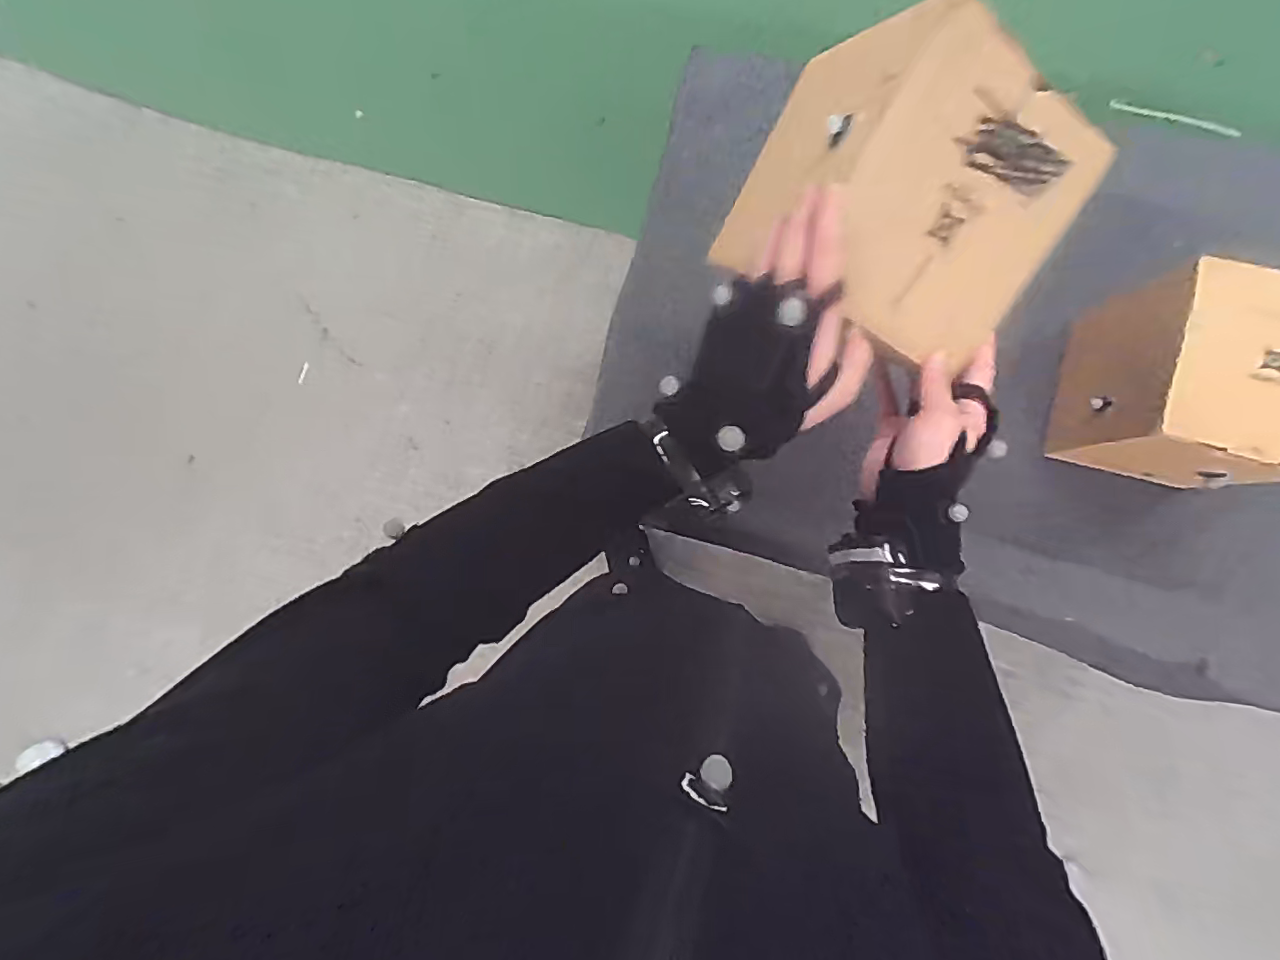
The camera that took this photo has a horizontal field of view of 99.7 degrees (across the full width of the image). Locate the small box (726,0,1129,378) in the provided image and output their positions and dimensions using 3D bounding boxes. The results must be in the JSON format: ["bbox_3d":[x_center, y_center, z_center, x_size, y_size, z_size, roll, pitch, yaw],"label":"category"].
[{"bbox_3d":[0.191,-0.208,0.413,0.168,0.176,0.179,23,108,-22],"label":"small box"}]

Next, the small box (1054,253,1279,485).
[{"bbox_3d":[0.577,-0.098,0.560,0.168,0.176,0.179,14,86,5],"label":"small box"}]
